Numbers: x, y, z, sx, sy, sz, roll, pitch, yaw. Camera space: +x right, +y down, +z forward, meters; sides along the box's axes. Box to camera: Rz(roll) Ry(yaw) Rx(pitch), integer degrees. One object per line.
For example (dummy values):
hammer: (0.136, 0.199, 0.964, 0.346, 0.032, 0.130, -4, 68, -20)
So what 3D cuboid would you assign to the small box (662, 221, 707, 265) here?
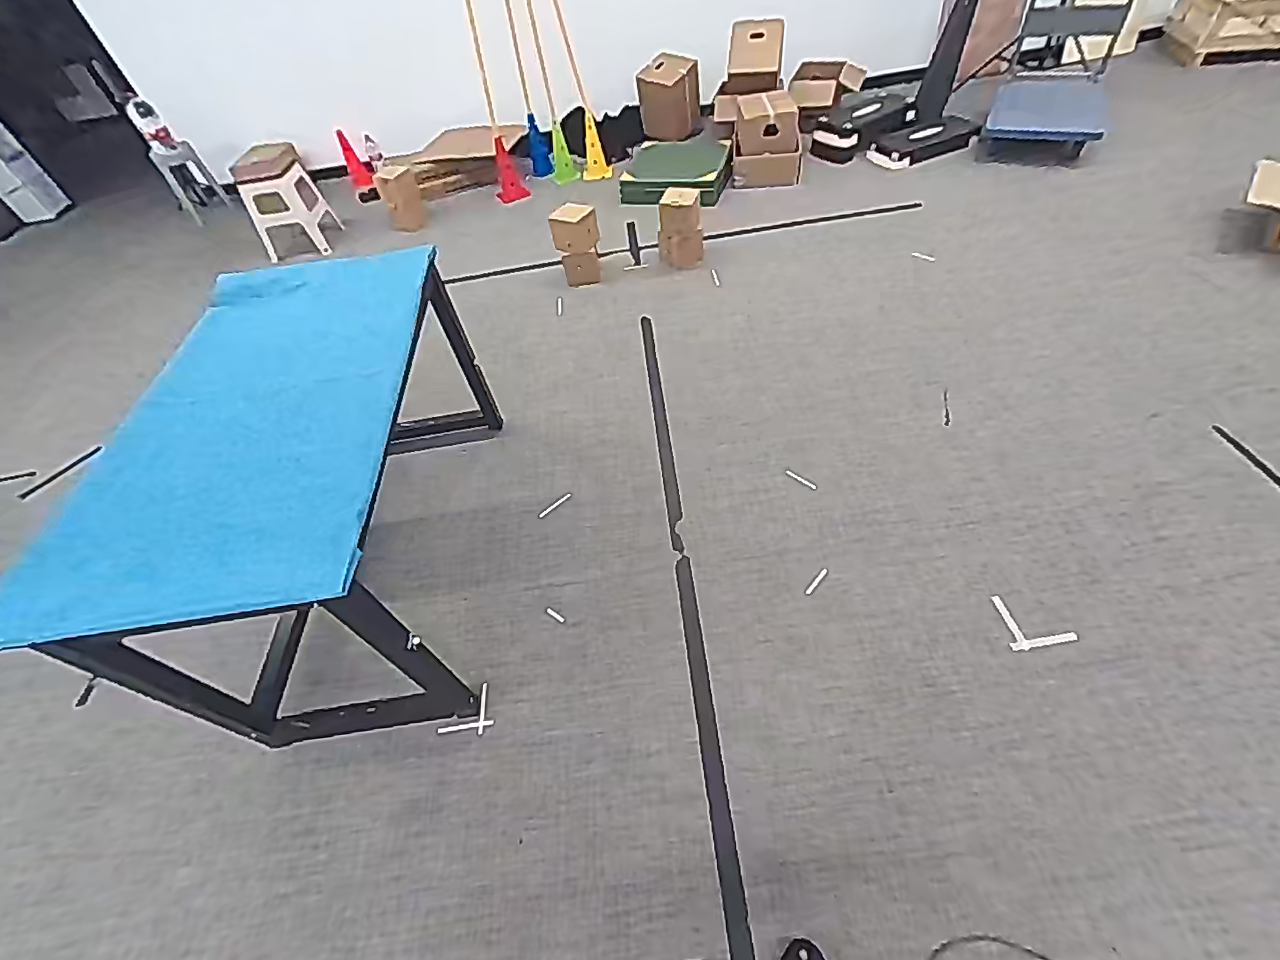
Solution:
small box: (0.239, -1.253, 2.822, 0.179, 0.176, 0.168, -34, 54, -19)

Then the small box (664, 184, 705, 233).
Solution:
small box: (0.225, -1.348, 2.686, 0.168, 0.176, 0.179, 11, 53, 15)

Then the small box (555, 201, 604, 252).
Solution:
small box: (-0.303, -1.272, 2.704, 0.179, 0.176, 0.168, 20, 56, 22)

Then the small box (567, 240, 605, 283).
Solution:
small box: (-0.278, -1.157, 2.824, 0.179, 0.176, 0.168, -8, 49, 4)
